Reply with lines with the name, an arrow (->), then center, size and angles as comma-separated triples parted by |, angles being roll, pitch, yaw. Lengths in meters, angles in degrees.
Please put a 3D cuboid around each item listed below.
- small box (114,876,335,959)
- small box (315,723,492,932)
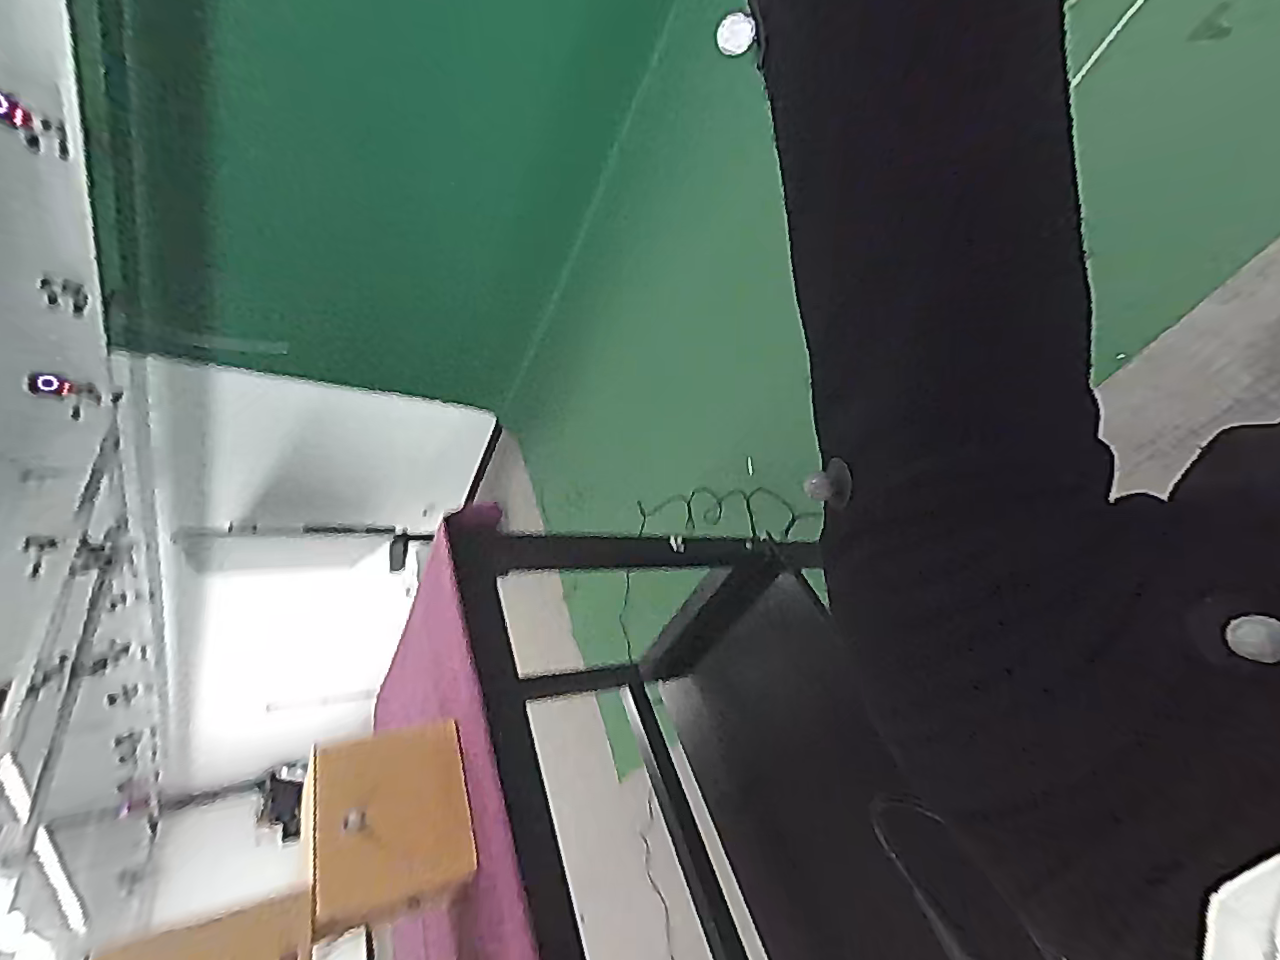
small box -> -0.397, 0.518, 0.517 | 0.179, 0.176, 0.168 | -58, 41, 33
small box -> -0.304, 0.429, 0.686 | 0.168, 0.176, 0.179 | -59, 43, 34
